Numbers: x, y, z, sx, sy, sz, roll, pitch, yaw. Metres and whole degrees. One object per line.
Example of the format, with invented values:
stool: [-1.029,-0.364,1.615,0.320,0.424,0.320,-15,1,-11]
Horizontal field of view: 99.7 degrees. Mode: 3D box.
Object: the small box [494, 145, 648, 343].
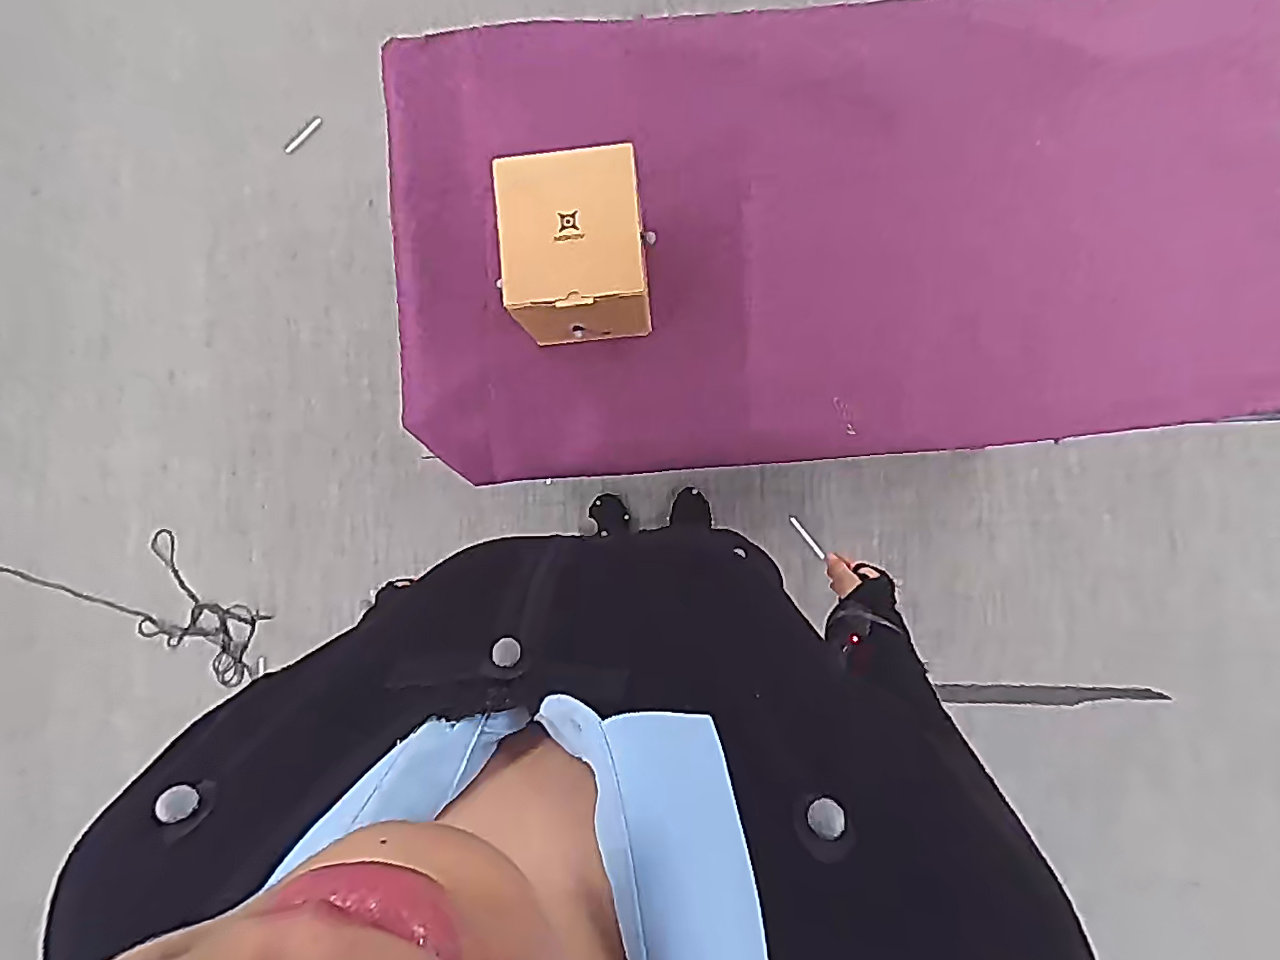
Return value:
small box: [-0.079,-0.291,0.700,0.168,0.176,0.179,-5,90,3]
